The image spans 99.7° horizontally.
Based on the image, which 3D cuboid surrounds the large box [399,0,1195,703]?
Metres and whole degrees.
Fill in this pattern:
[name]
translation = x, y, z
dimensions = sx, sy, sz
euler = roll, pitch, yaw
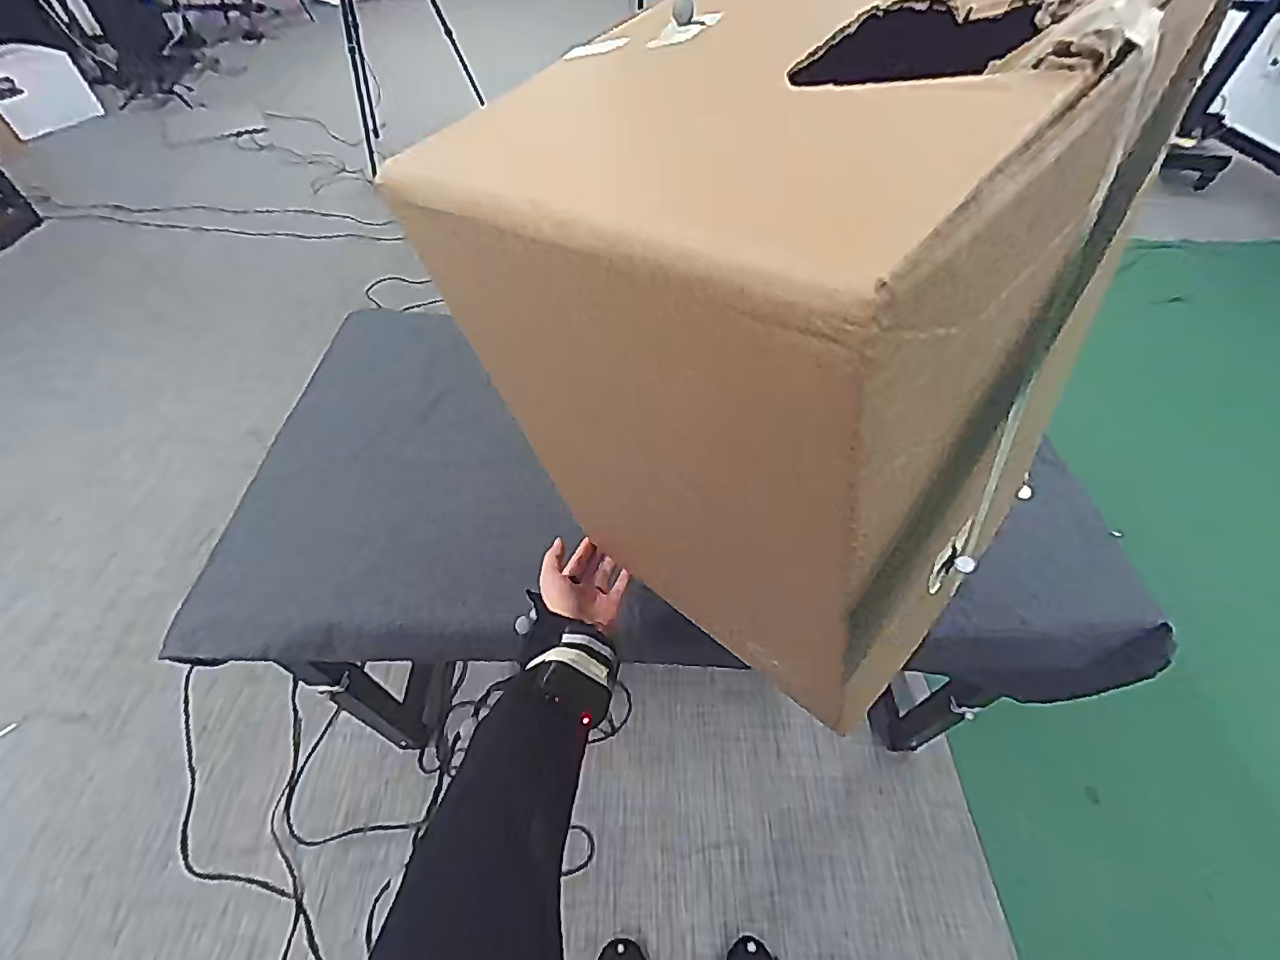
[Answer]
[large box]
translation = 0.105, -0.096, 0.429
dimensions = 0.320, 0.408, 0.320
euler = 33, 68, 35
